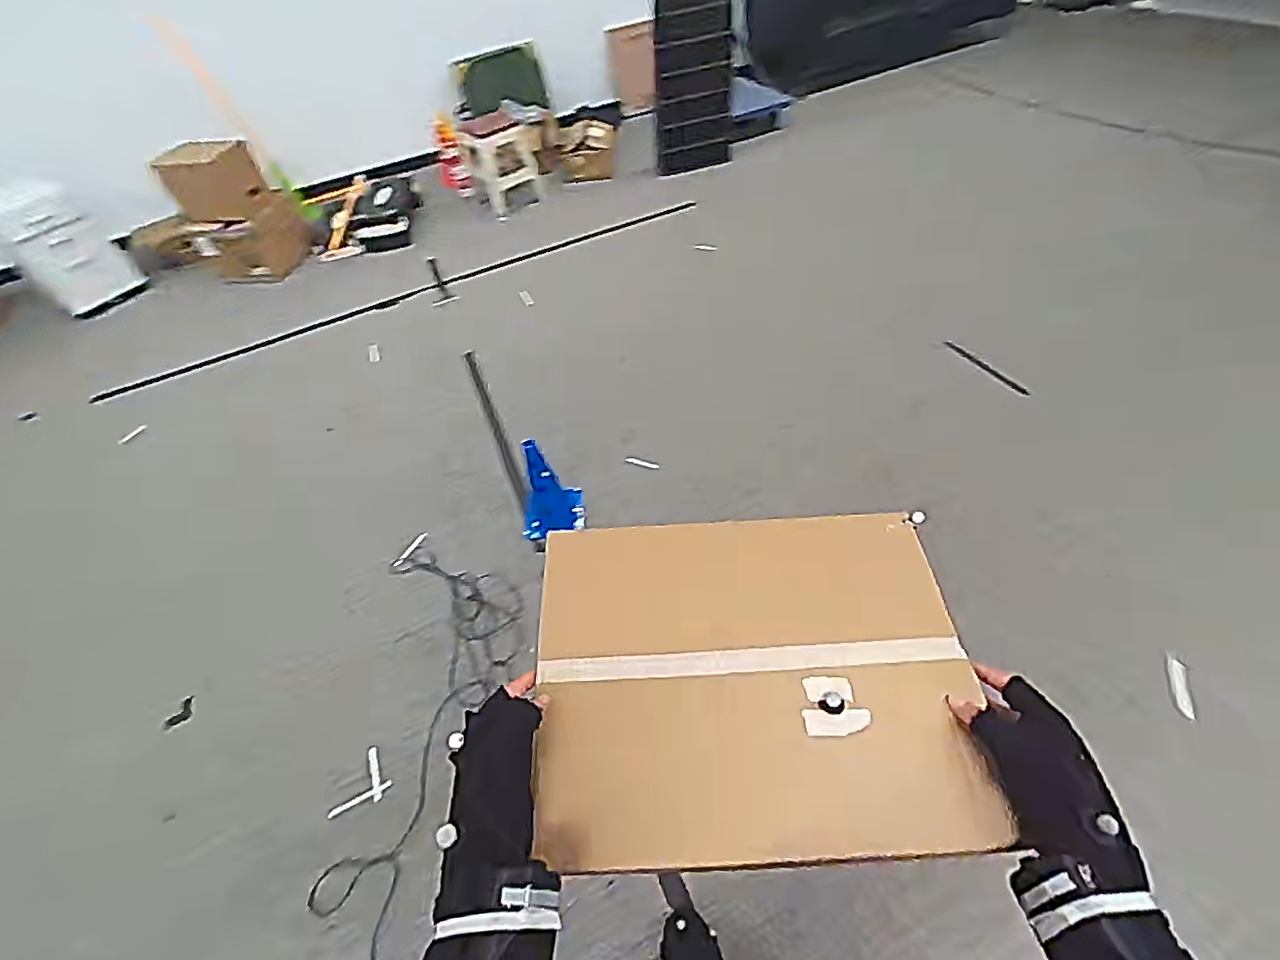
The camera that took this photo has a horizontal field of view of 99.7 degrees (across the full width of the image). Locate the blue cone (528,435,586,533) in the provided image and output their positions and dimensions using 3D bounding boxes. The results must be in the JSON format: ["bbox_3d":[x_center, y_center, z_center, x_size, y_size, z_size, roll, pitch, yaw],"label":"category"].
[{"bbox_3d":[-0.304,0.002,1.785,0.193,0.380,0.192,-6,49,3],"label":"blue cone"}]

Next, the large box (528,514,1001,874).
[{"bbox_3d":[0.099,0.266,0.651,0.408,0.320,0.320,-4,54,0],"label":"large box"}]
